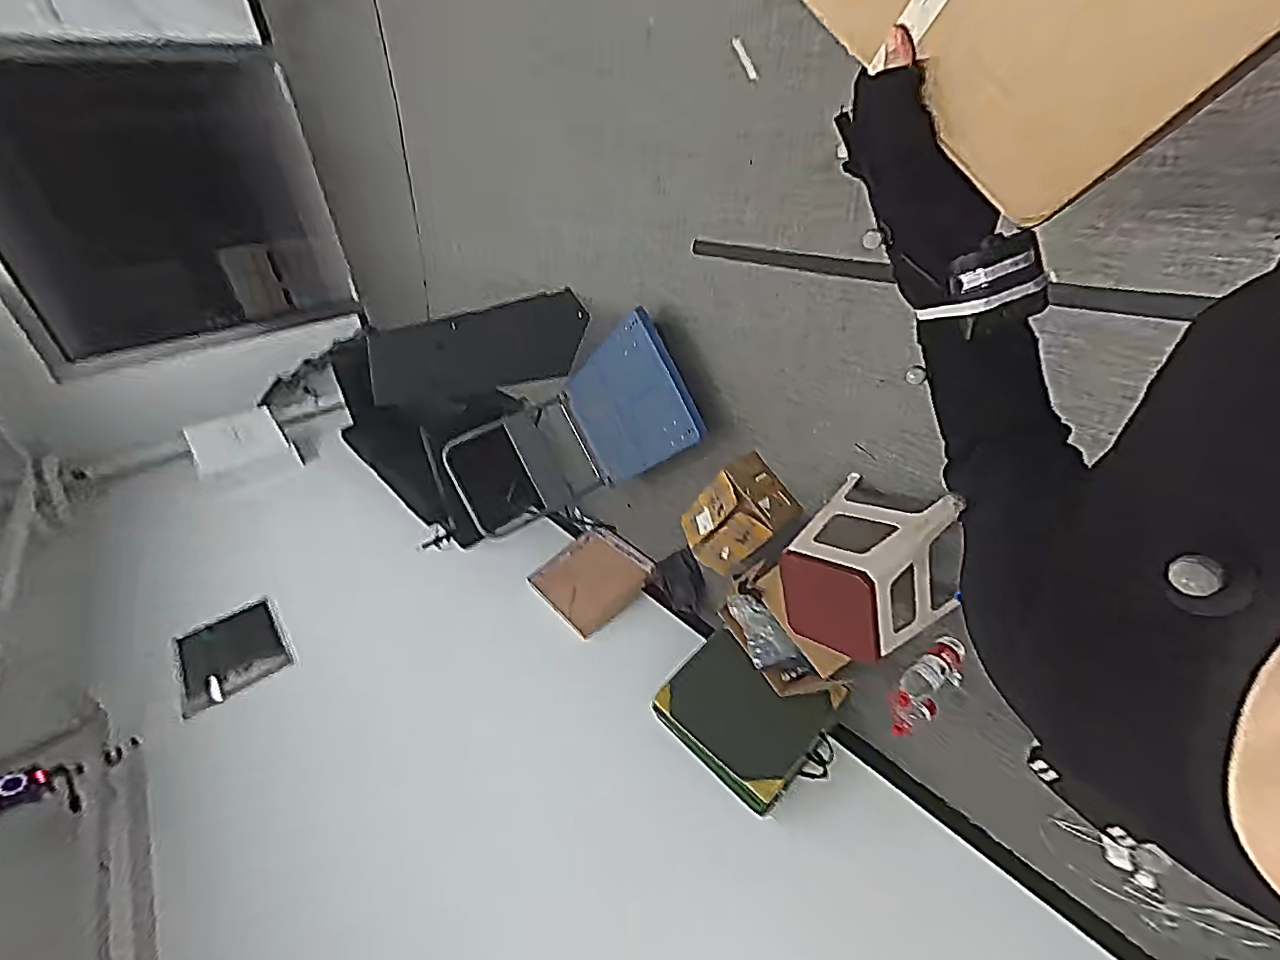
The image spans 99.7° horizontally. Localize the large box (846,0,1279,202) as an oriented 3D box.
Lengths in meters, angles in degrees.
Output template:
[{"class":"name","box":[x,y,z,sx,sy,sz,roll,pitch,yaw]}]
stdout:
[{"class":"large box","box":[0.352,-0.447,0.281,0.320,0.320,0.408,53,153,6]}]
